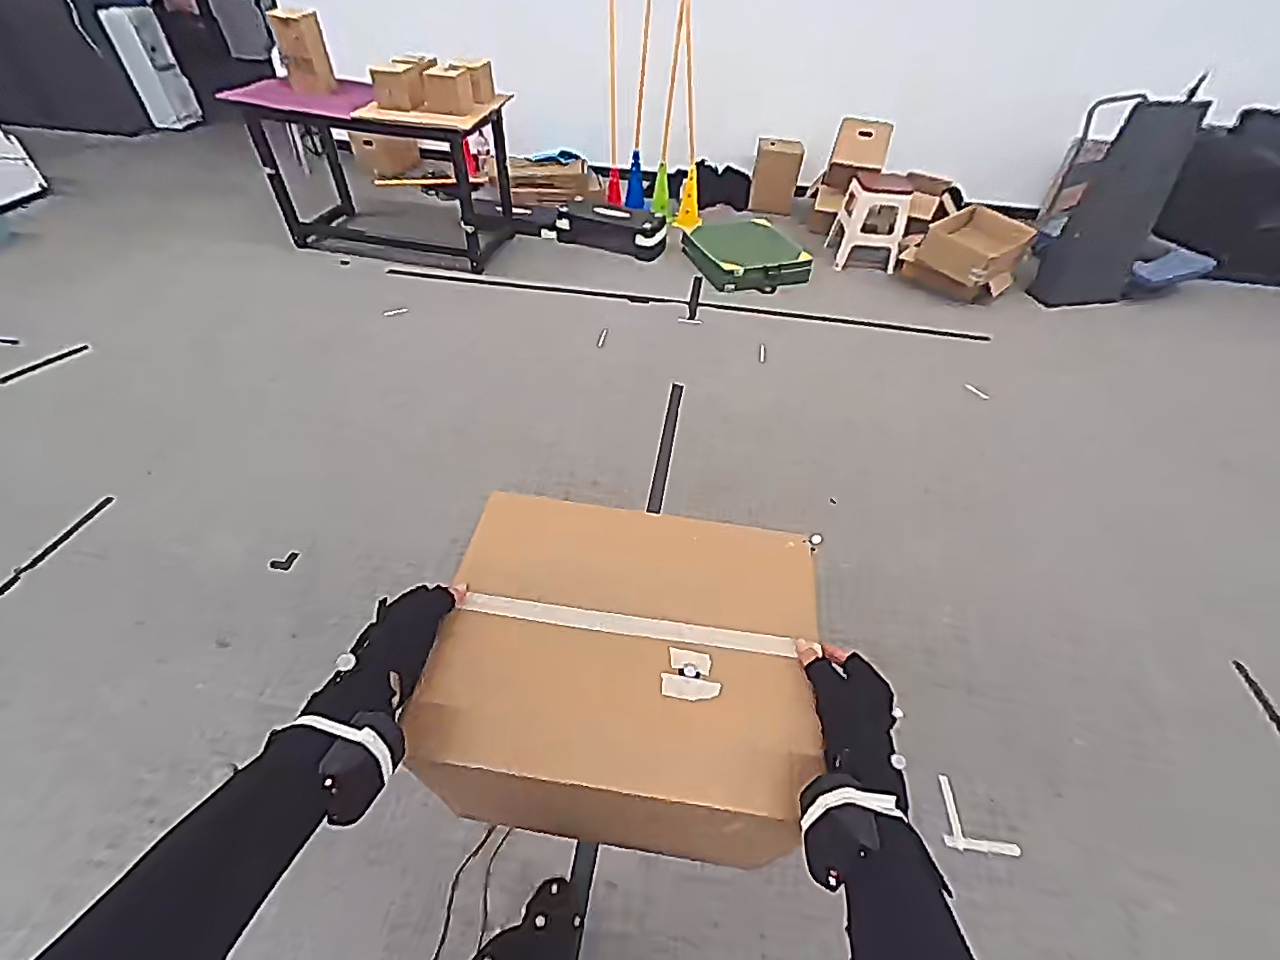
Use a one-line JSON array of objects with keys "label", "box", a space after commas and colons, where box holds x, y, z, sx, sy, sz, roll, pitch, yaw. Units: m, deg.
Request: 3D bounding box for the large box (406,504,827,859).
[{"label": "large box", "box": [-0.018, 0.264, 0.706, 0.408, 0.320, 0.320, 8, 49, 2]}]
